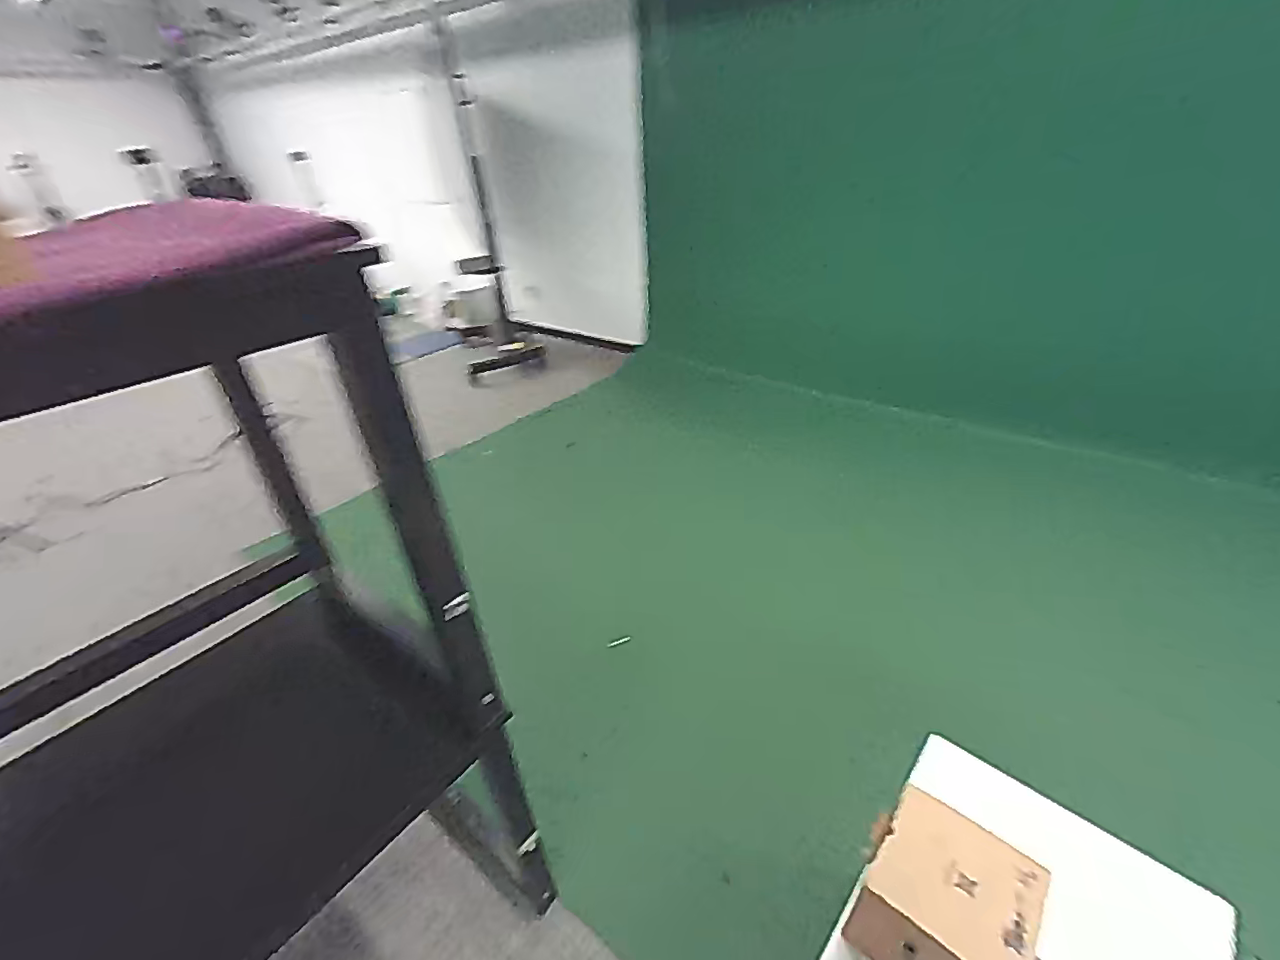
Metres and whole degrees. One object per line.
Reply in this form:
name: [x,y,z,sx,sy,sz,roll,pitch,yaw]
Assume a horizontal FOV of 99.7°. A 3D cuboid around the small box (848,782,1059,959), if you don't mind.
small box: [0.391,0.547,0.695,0.179,0.176,0.168,25,42,36]
